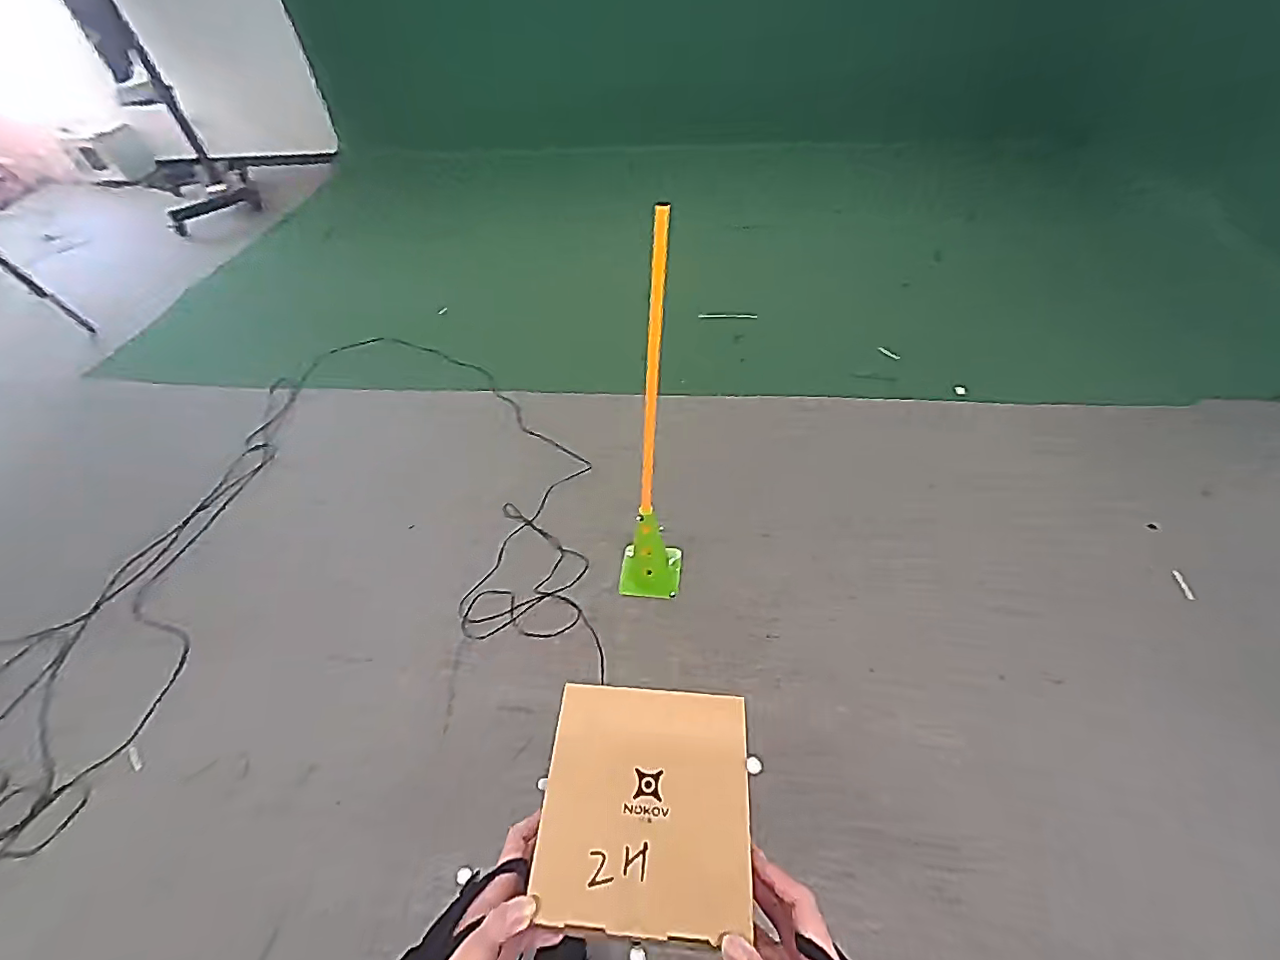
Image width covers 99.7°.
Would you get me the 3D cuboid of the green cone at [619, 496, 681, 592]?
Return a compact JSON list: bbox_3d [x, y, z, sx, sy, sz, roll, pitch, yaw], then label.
[{"bbox_3d":[0.023,0.178,1.725,0.202,0.368,0.200,2,49,8],"label":"green cone"}]
